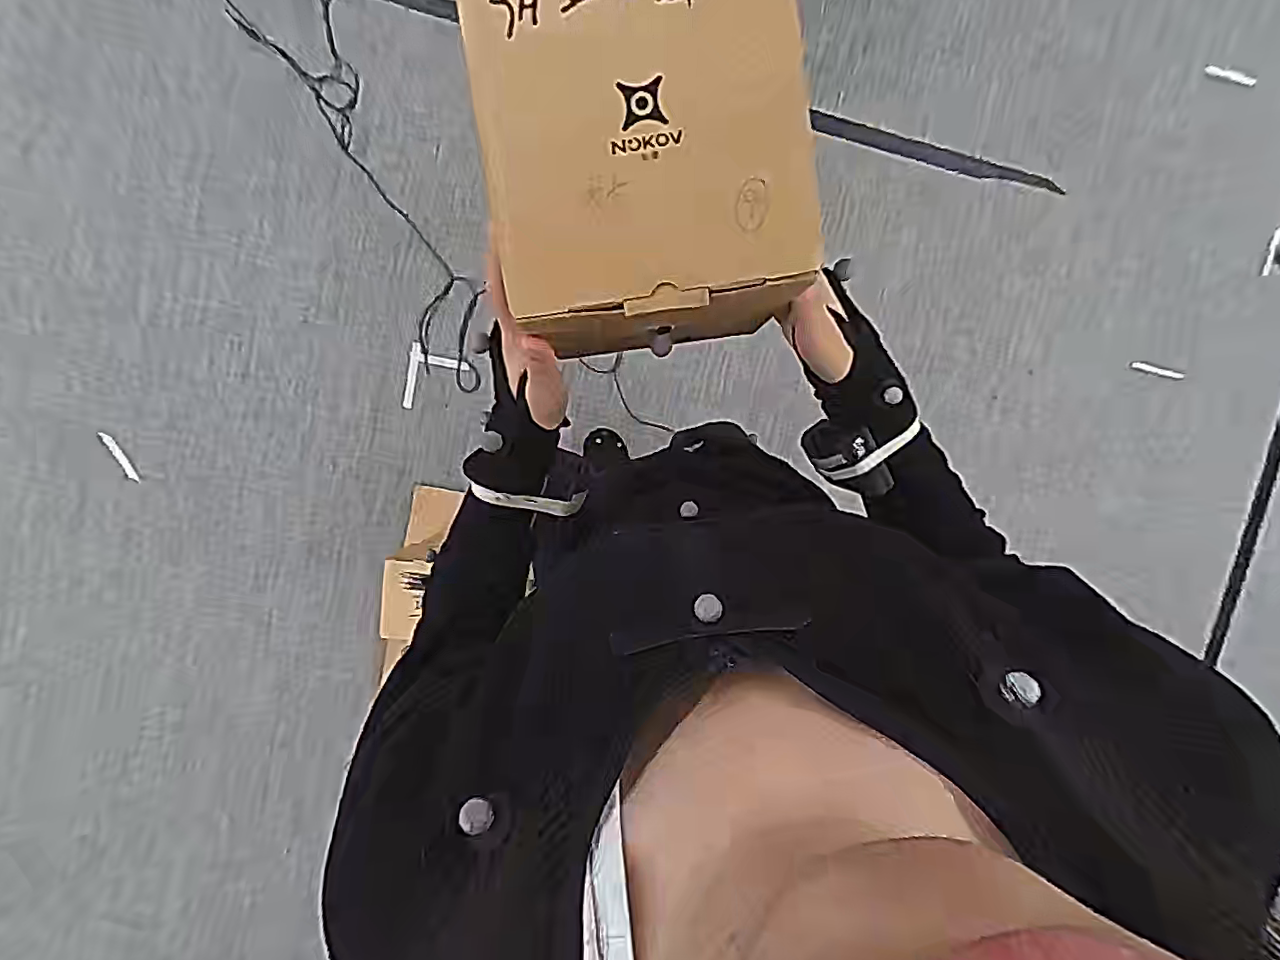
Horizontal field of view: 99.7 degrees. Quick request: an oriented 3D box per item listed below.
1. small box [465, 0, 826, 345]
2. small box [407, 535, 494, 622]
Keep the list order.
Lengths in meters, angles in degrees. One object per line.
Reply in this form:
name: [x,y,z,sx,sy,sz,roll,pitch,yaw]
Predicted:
small box: [0.005,-0.187,0.344,0.168,0.176,0.179,-8,96,1]
small box: [-0.478,0.245,1.388,0.168,0.176,0.179,7,95,-4]
